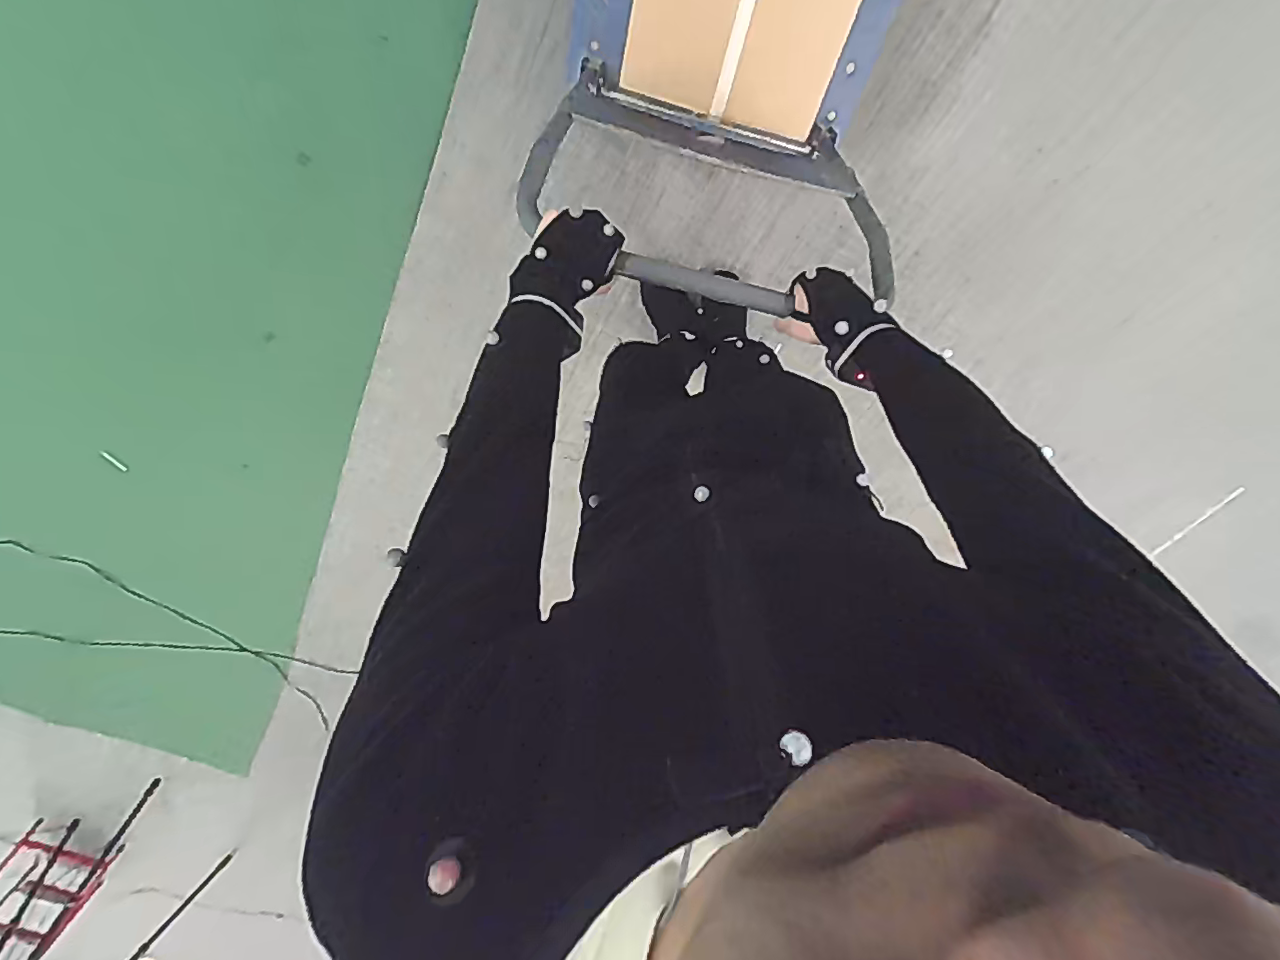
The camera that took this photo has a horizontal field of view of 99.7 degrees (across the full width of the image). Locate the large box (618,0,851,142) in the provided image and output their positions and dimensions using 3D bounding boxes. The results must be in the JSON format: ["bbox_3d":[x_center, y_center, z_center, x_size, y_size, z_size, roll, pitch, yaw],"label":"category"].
[{"bbox_3d":[0.168,-0.826,0.854,0.320,0.320,0.408,13,132,-7],"label":"large box"}]
